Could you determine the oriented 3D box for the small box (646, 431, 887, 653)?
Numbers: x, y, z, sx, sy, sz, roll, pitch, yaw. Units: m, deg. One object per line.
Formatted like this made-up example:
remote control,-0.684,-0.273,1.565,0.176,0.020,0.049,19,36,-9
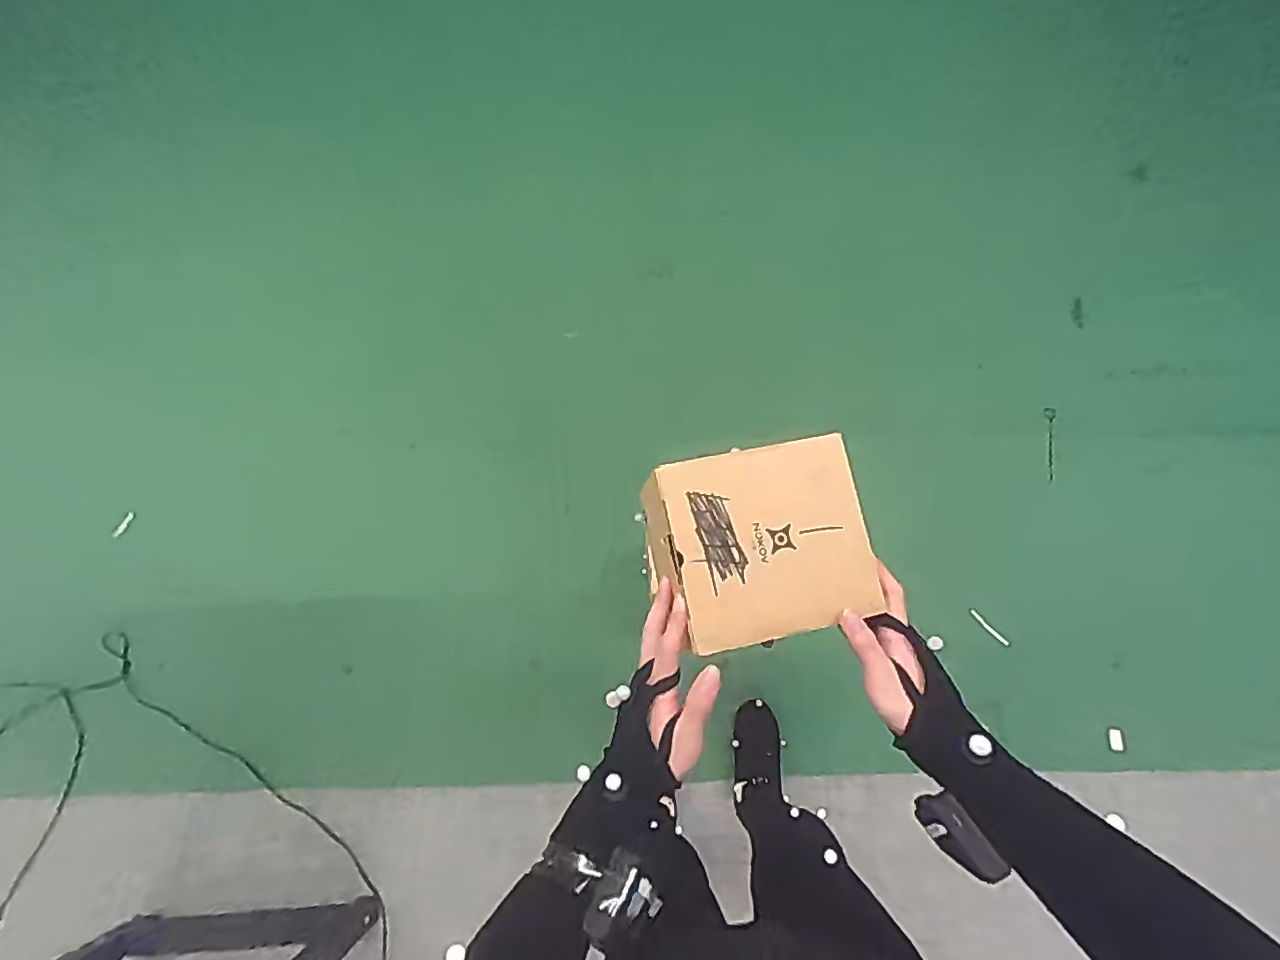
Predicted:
small box,0.105,0.062,0.539,0.179,0.176,0.168,-11,82,-7
